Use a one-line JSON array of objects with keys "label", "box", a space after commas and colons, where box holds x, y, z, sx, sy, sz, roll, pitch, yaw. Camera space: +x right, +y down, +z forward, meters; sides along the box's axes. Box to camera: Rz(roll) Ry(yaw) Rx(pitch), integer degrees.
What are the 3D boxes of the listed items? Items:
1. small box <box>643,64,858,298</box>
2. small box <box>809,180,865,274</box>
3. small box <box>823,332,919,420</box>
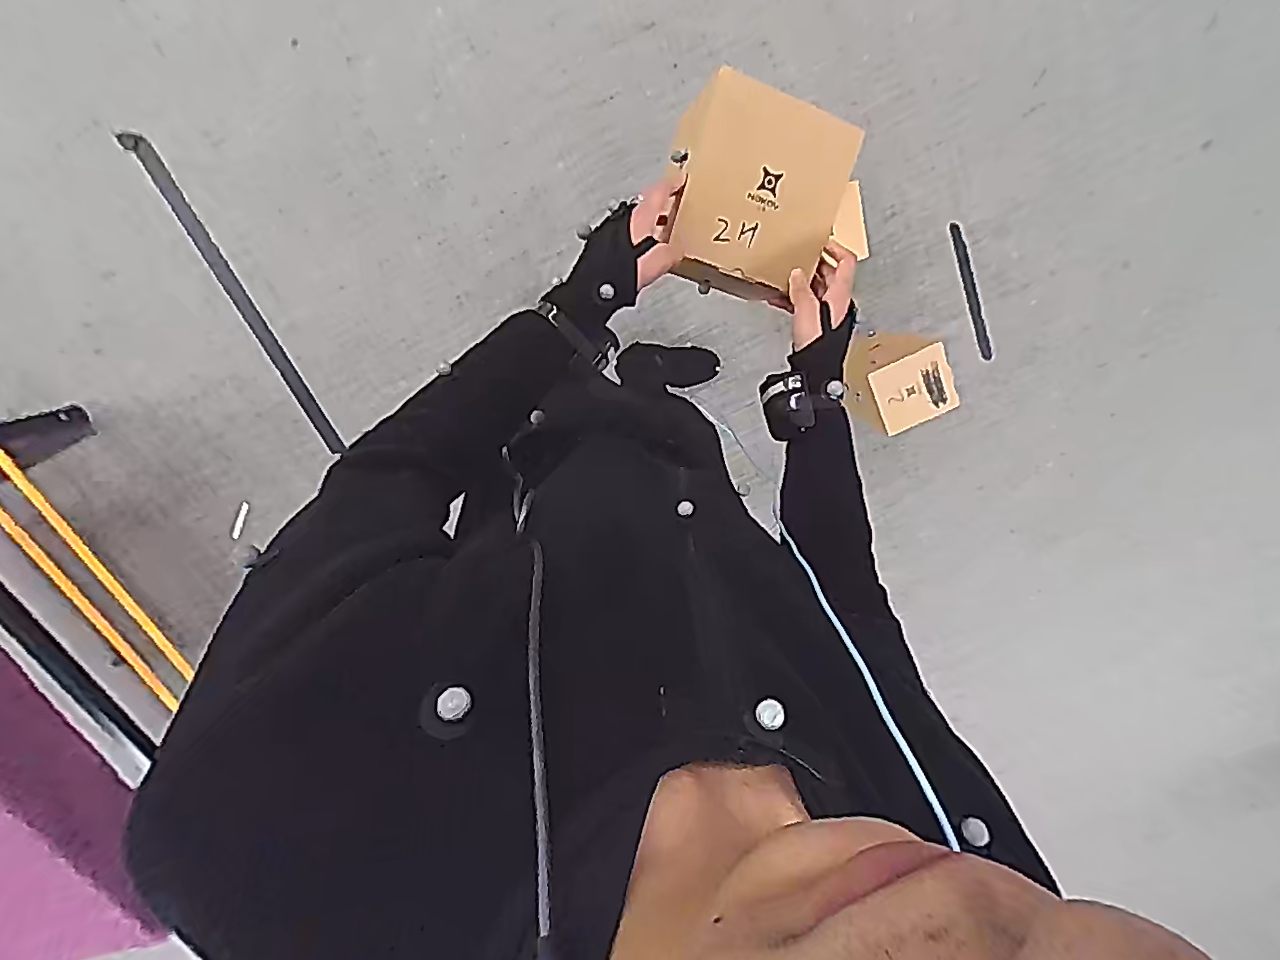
[{"label": "small box", "box": [0.111, -0.324, 0.630, 0.168, 0.176, 0.179, 14, 105, -14]}, {"label": "small box", "box": [0.443, -0.623, 1.357, 0.168, 0.176, 0.179, -15, 108, 6]}, {"label": "small box", "box": [0.624, -0.292, 1.478, 0.168, 0.176, 0.179, -24, 109, 9]}]
